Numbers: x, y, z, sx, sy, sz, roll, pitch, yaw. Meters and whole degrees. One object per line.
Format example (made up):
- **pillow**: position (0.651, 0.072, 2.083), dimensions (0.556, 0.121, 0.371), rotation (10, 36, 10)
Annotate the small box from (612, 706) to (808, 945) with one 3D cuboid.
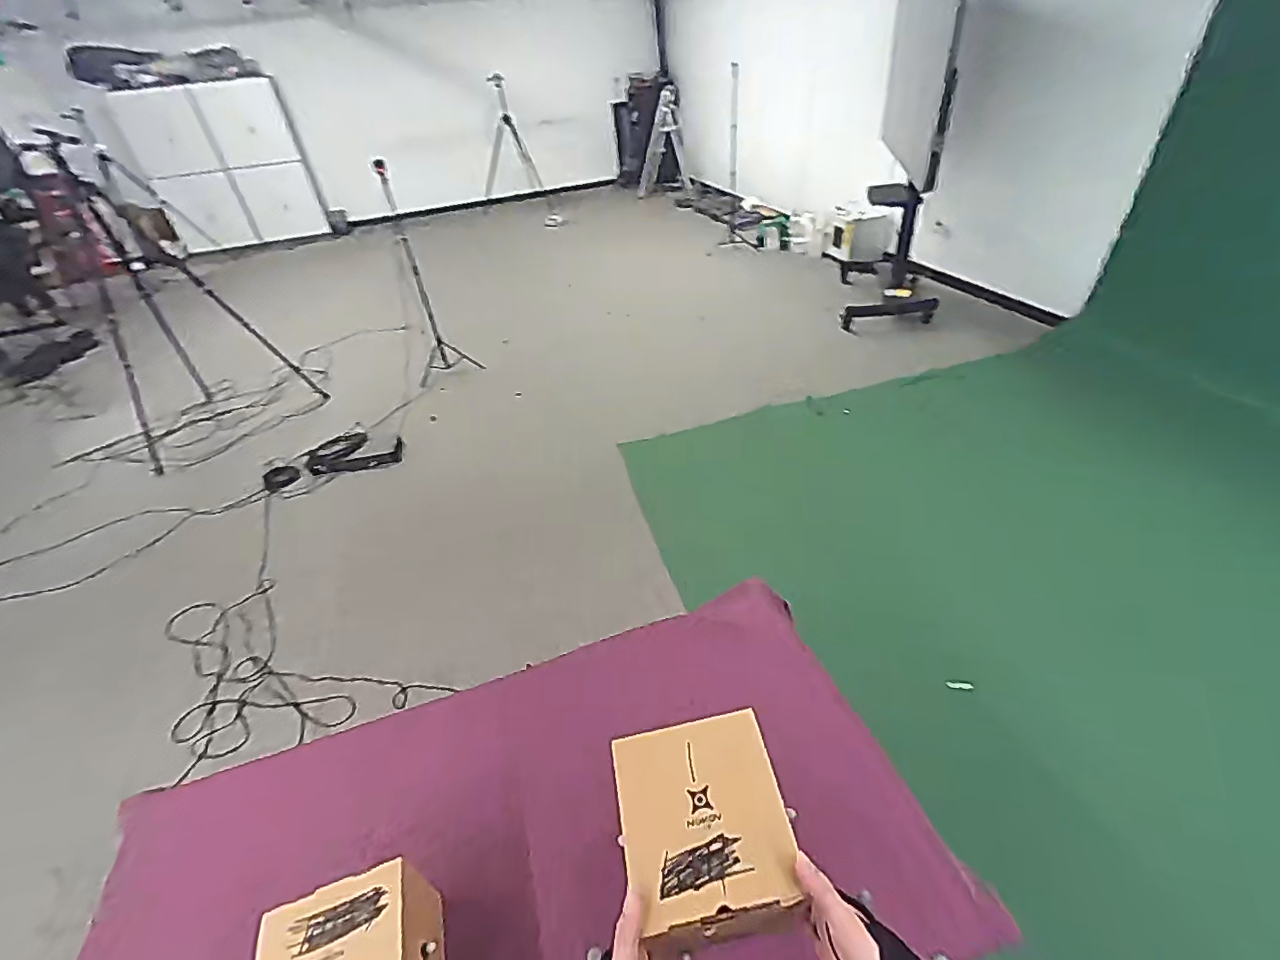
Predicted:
- **small box**: position (0.073, 0.383, 0.595), dimensions (0.168, 0.176, 0.179), rotation (-12, 43, -1)
